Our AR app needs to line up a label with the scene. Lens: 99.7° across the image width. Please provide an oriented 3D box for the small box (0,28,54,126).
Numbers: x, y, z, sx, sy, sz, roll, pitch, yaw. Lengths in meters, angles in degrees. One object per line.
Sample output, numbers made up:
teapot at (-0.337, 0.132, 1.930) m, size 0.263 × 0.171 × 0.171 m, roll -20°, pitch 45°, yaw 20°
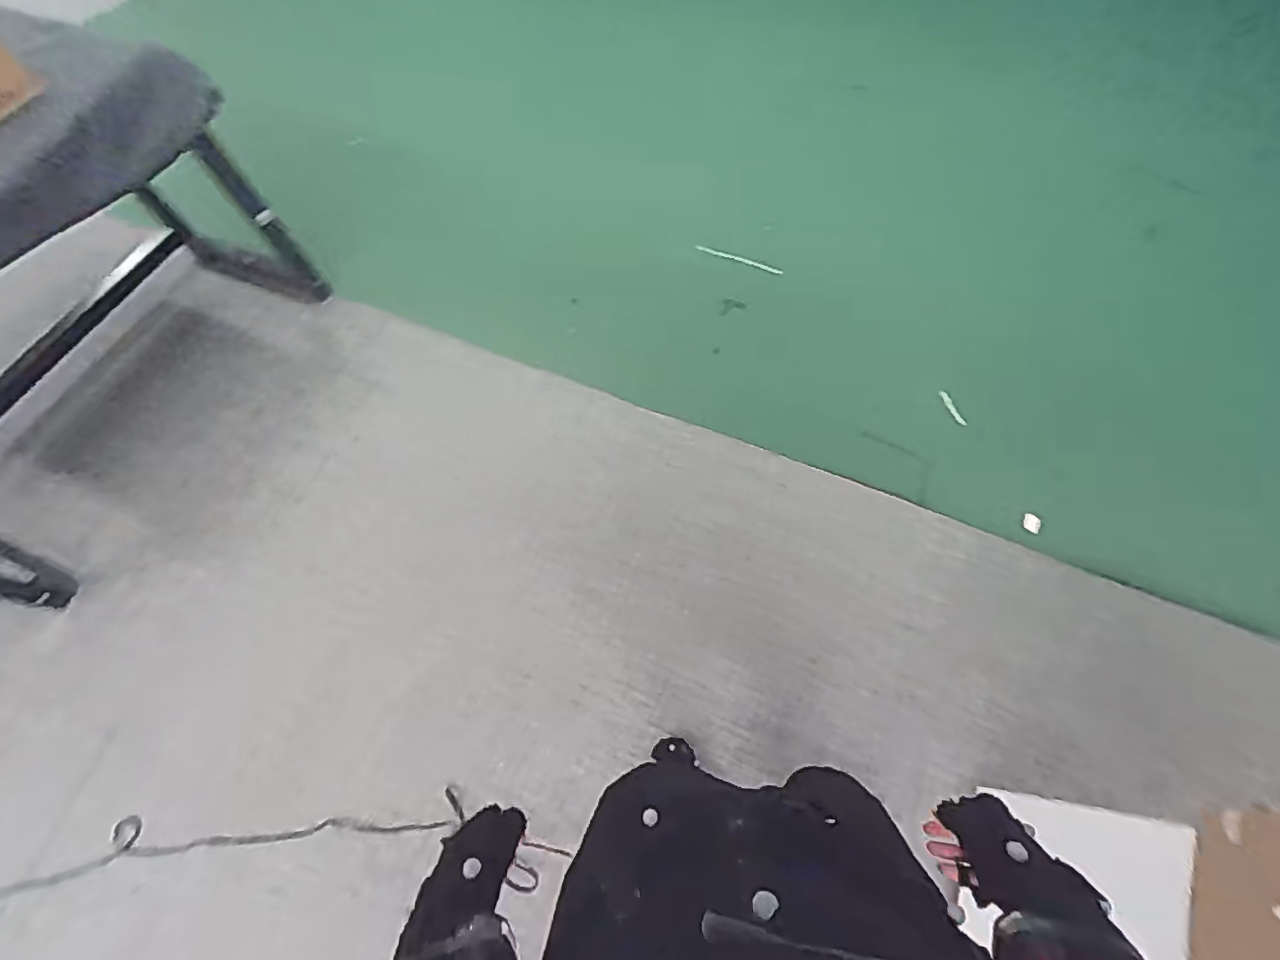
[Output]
small box at (-1.333, -0.820, 1.048) m, size 0.179 × 0.176 × 0.168 m, roll 24°, pitch 70°, yaw 13°
